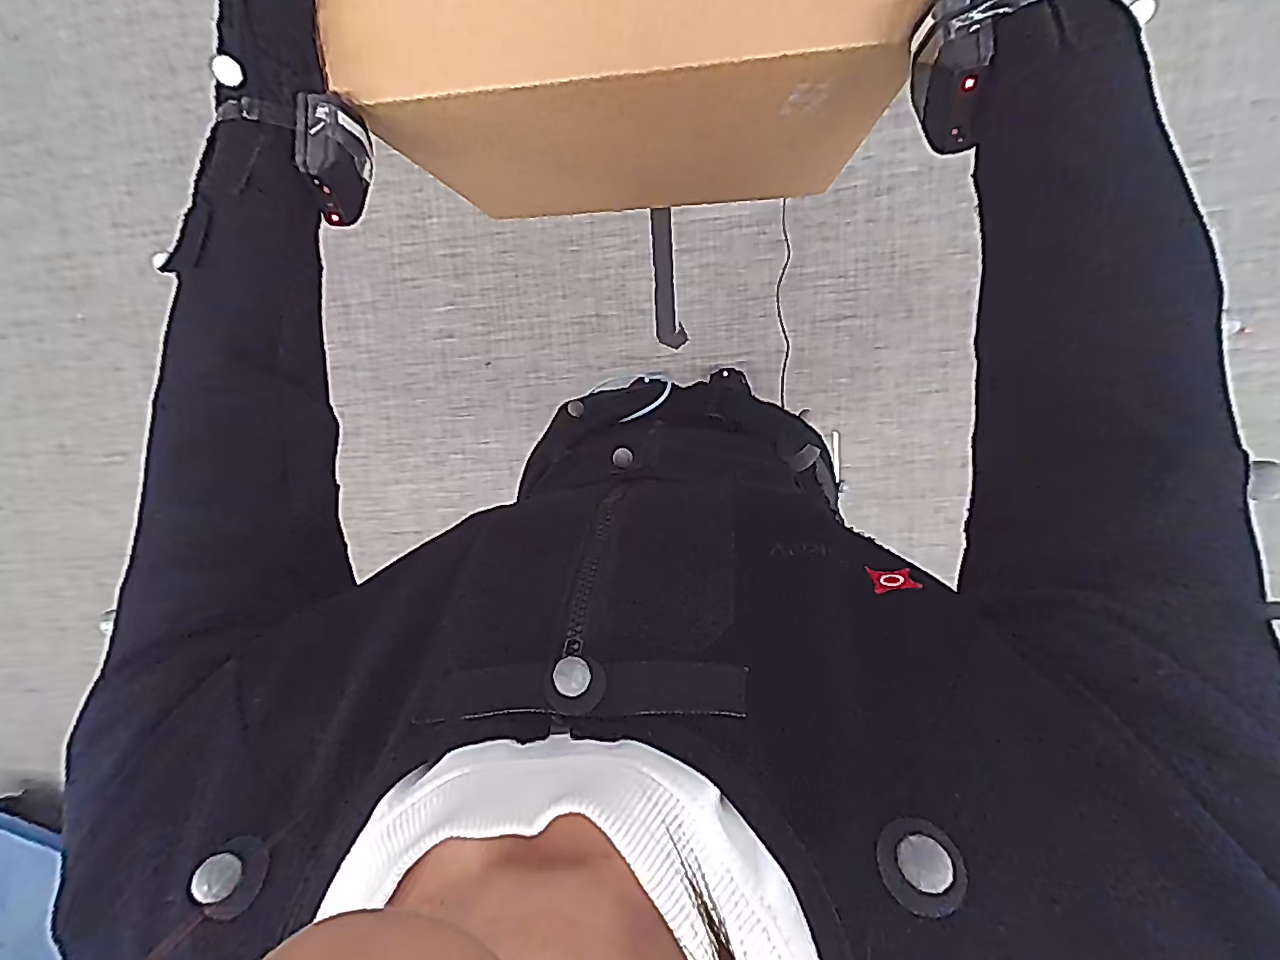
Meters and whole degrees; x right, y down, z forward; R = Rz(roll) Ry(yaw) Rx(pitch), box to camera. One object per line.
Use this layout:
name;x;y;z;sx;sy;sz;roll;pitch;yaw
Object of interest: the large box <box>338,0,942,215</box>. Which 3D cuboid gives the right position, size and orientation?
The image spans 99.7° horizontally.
large box;-0.004;-0.456;0.478;0.408;0.320;0.320;-2;102;6
